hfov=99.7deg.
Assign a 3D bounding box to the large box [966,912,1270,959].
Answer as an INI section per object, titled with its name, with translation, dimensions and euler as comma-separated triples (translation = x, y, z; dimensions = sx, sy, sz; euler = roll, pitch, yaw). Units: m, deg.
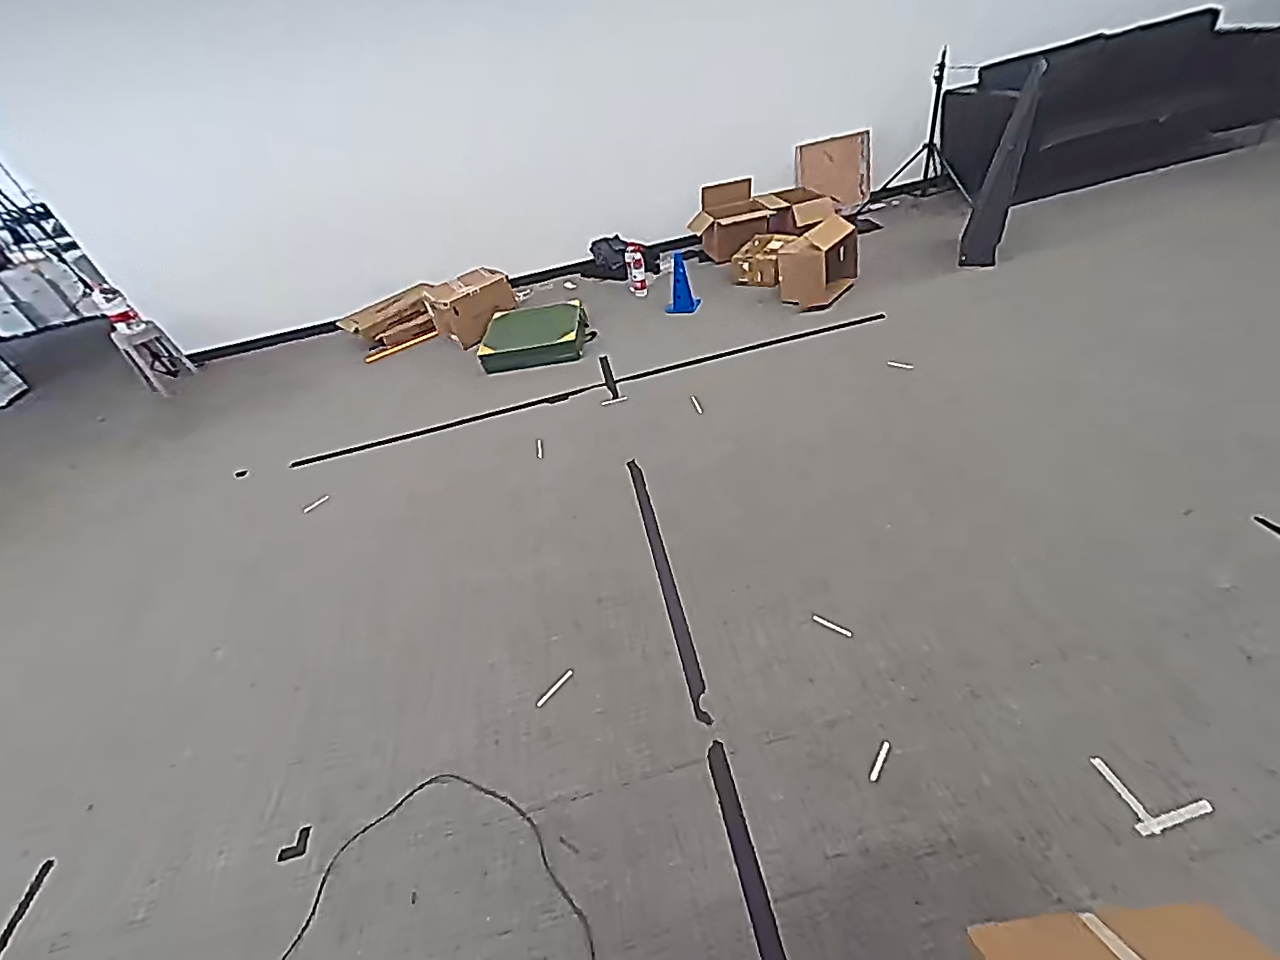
[large box]
translation = 0.591, 0.715, 0.510
dimensions = 0.320, 0.408, 0.320
euler = -12, 82, 7
